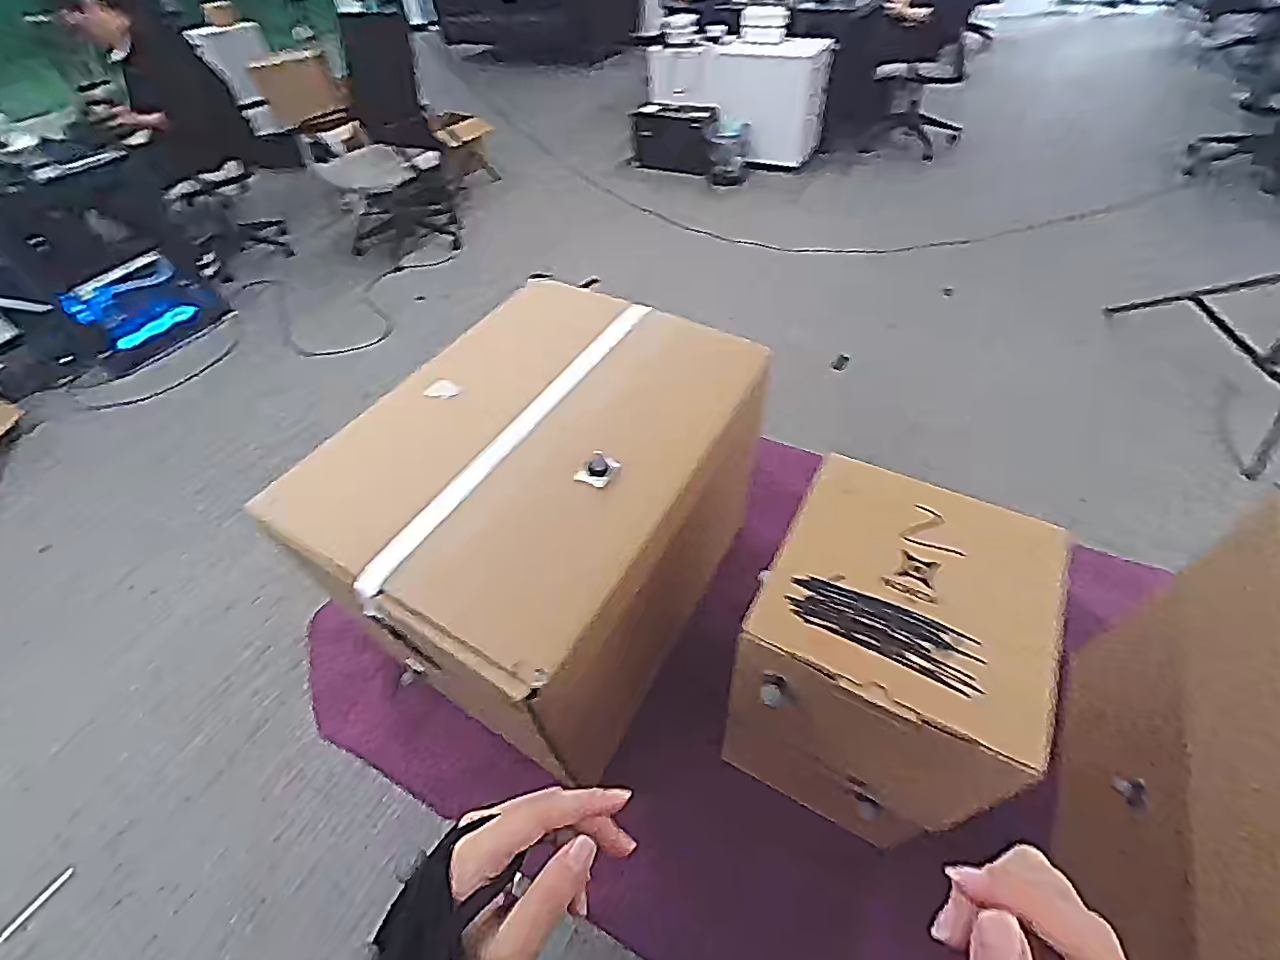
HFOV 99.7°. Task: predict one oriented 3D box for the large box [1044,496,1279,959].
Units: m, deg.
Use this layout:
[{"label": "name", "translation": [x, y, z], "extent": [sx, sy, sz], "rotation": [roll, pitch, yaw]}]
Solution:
[{"label": "large box", "translation": [0.515, 0.292, 0.353], "extent": [0.320, 0.320, 0.408], "rotation": [22, 53, 22]}]
